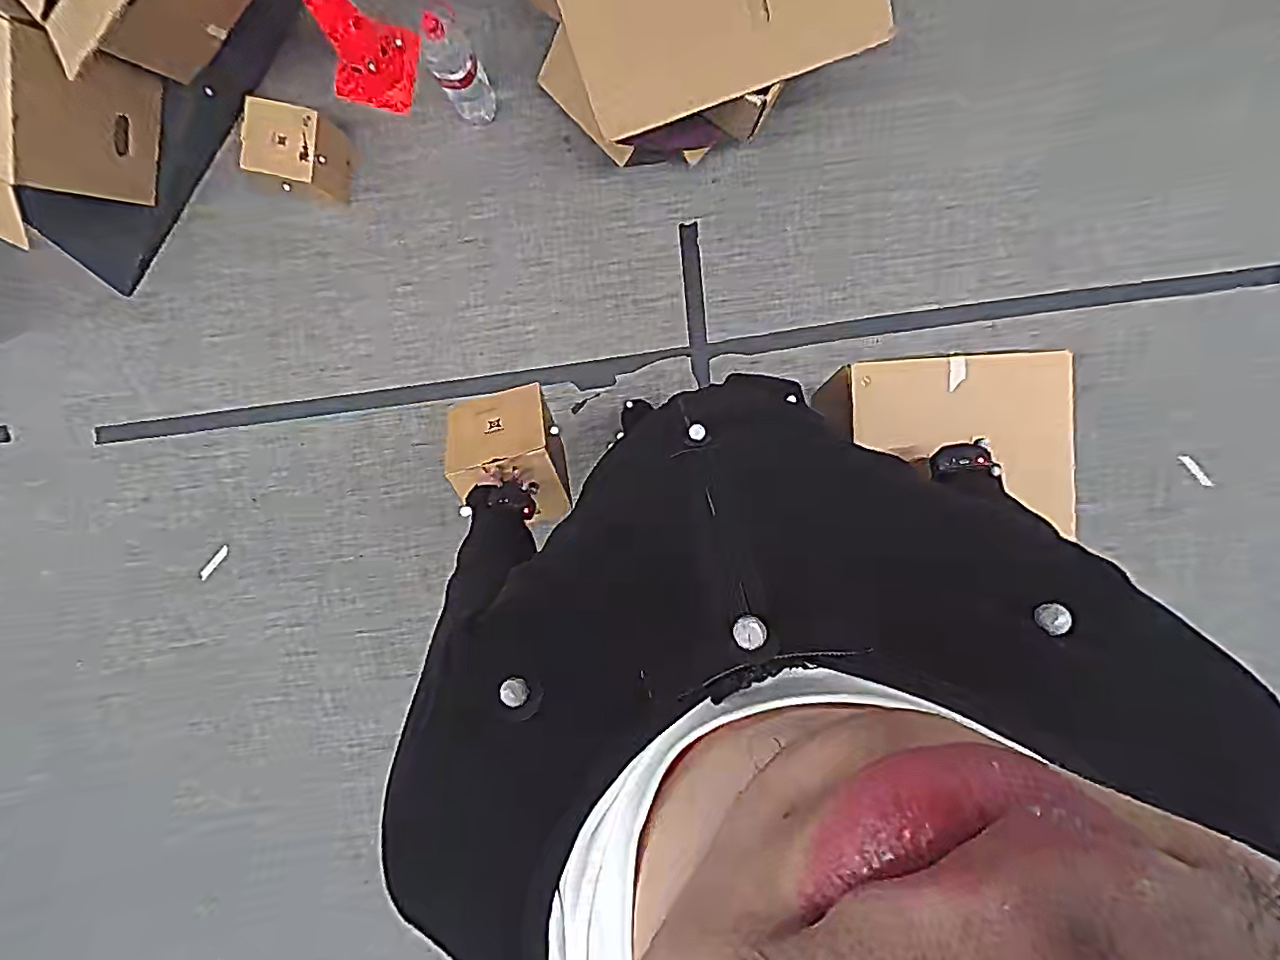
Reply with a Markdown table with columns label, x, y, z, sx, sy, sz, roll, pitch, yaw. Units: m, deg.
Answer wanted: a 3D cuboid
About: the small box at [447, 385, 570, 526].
| label | x | y | z | sx | sy | sz | roll | pitch | yaw |
| --- | --- | --- | --- | --- | --- | --- | --- | --- | --- |
| small box | -0.230 | -0.037 | 0.971 | 0.168 | 0.179 | 0.176 | -14 | 138 | 0 |
